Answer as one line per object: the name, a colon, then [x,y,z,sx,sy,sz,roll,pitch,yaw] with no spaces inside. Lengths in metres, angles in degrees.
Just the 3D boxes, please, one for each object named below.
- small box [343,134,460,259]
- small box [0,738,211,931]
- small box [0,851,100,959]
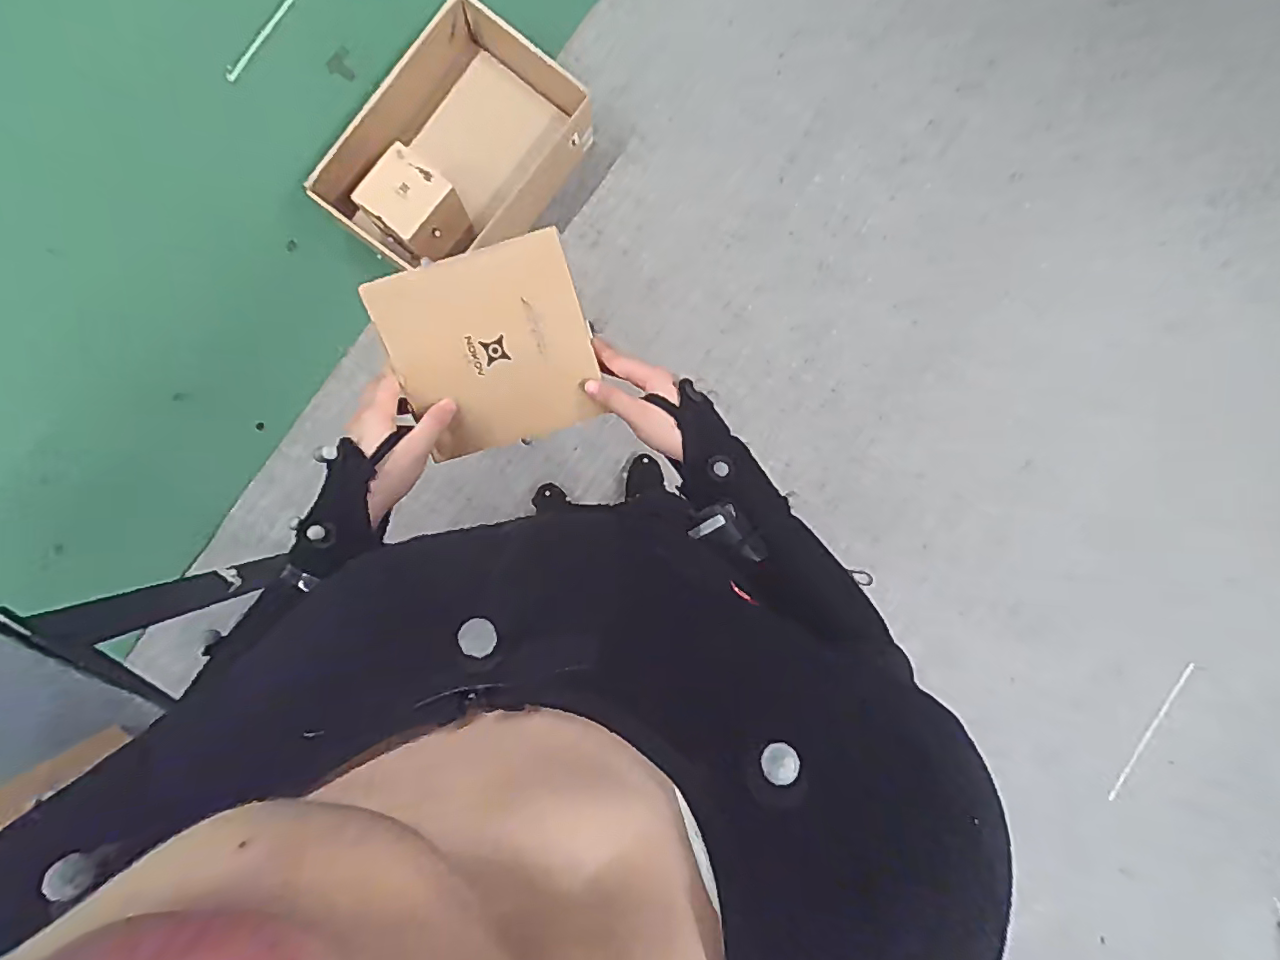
small box: [-0.566,-0.675,1.313,0.168,0.176,0.179,38,88,-5]
small box: [-0.676,0.439,0.632,0.179,0.176,0.168,40,90,-5]
small box: [-0.661,0.463,0.469,0.179,0.176,0.168,39,90,-6]
